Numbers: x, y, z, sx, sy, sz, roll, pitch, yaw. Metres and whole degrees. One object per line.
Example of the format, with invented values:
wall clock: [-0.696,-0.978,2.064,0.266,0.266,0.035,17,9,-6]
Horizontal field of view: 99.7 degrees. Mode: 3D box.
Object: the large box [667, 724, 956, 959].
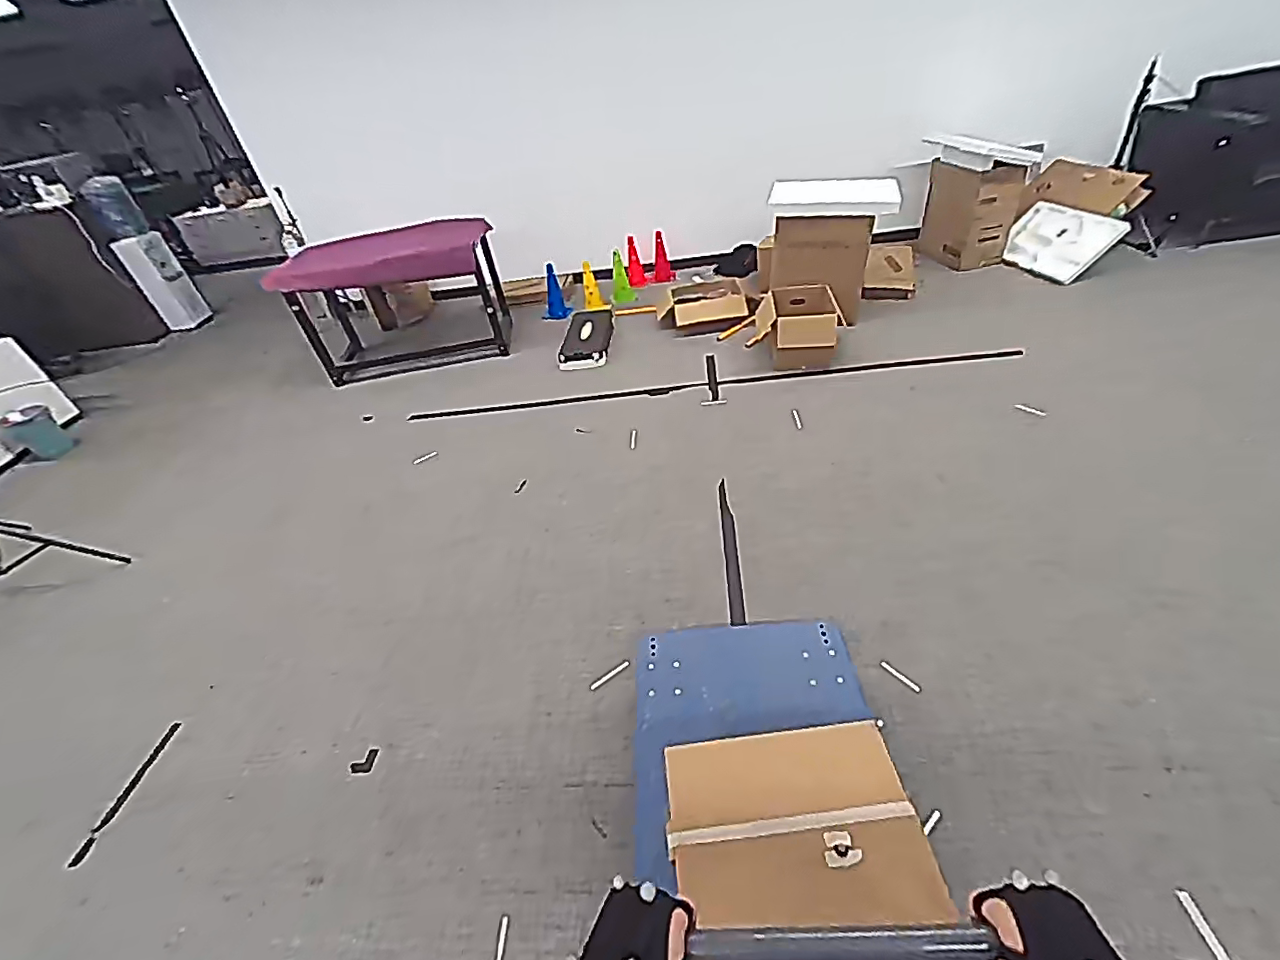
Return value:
large box: [0.277,0.703,1.002,0.408,0.320,0.320,-8,39,1]
